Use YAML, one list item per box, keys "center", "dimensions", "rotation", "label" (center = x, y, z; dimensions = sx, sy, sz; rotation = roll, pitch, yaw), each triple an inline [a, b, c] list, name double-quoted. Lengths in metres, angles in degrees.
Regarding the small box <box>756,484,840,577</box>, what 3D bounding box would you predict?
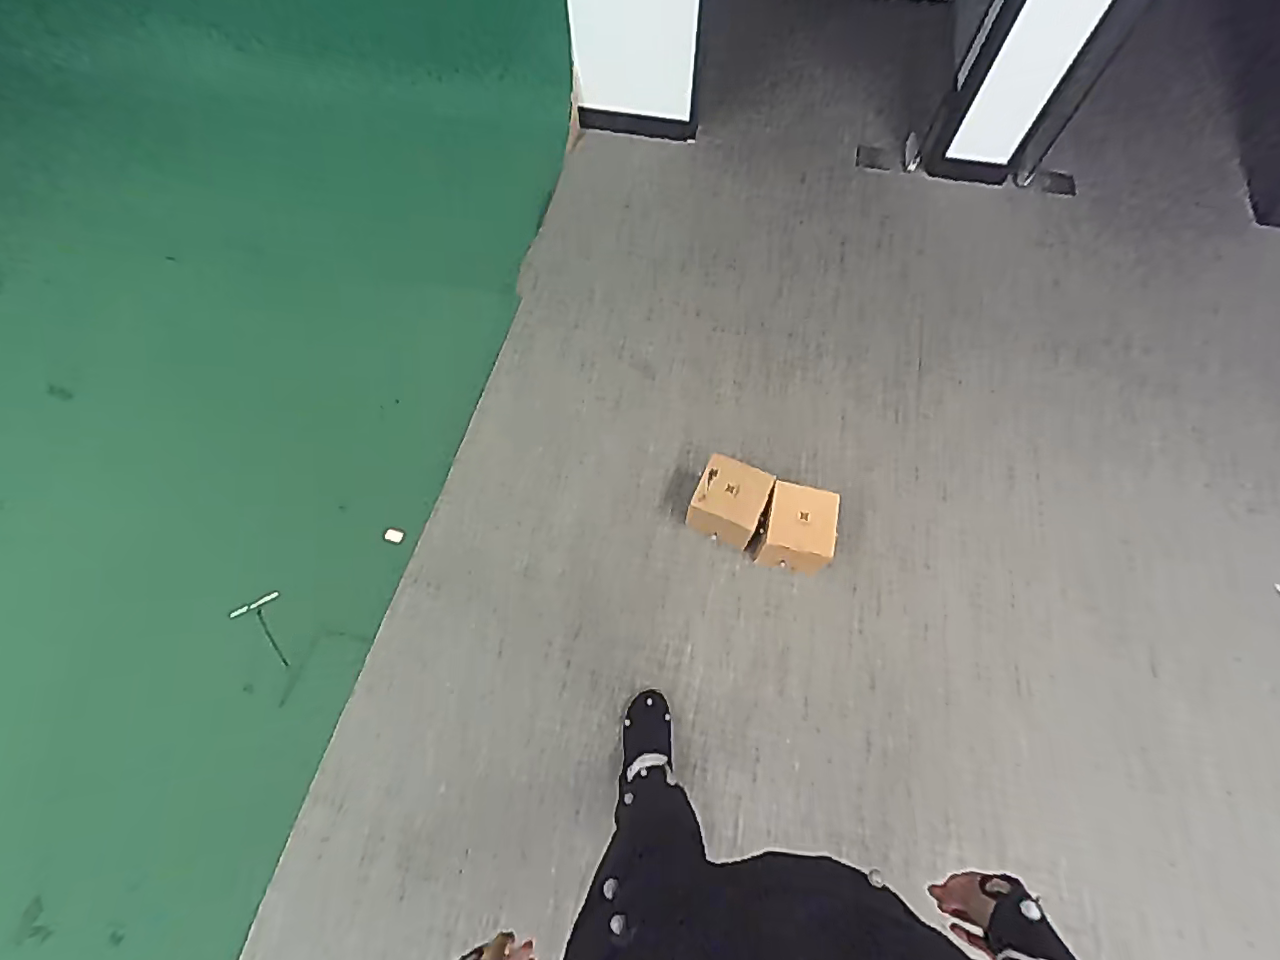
- center: [0.409, 0.137, 1.413]
  dimensions: [0.168, 0.176, 0.179]
  rotation: [12, 67, 6]
  label: "small box"
